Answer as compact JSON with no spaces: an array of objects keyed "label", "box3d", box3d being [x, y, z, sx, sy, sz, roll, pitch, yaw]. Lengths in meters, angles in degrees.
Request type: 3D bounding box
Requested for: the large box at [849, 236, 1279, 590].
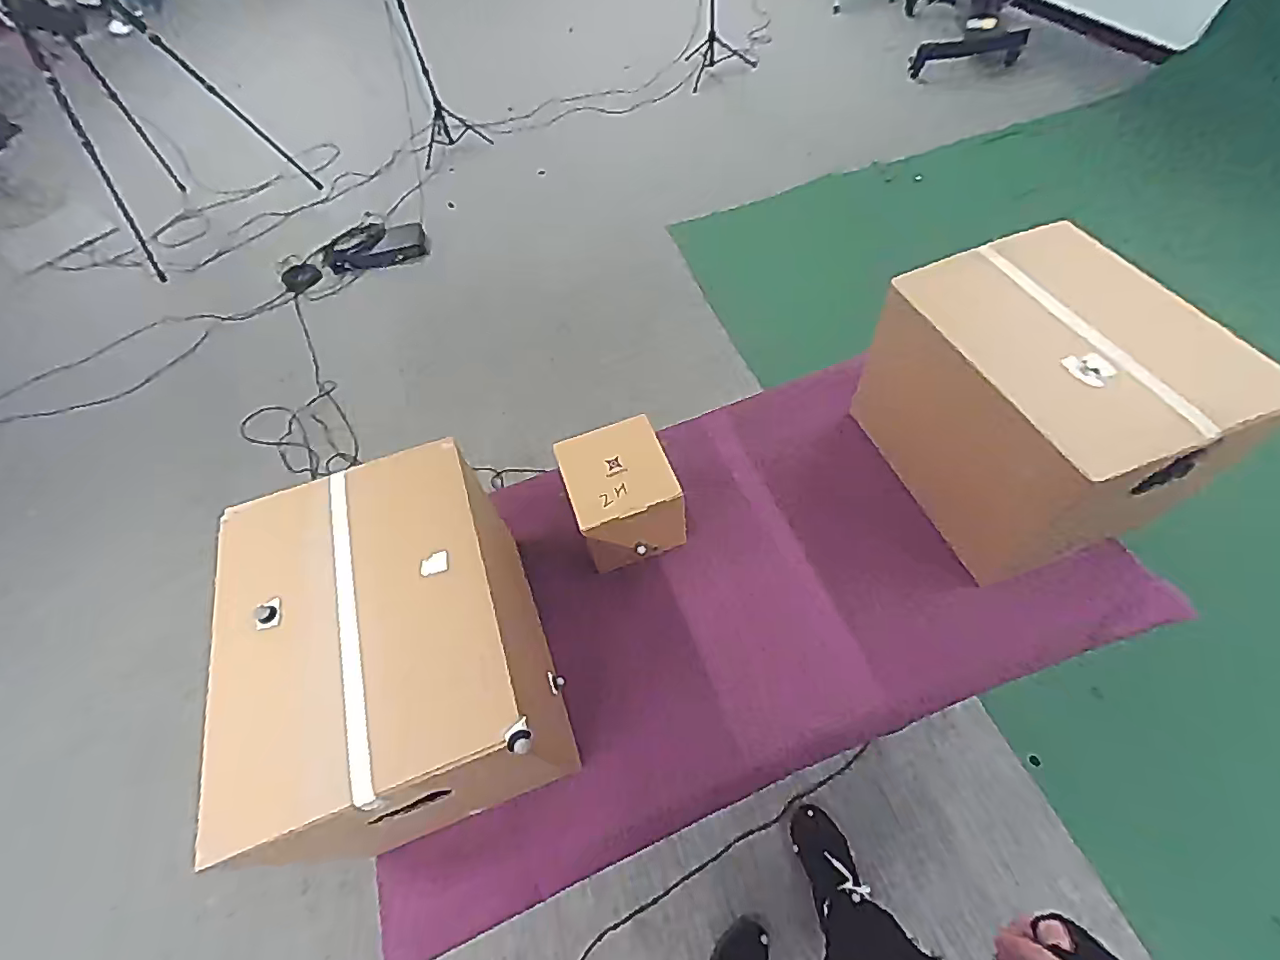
[{"label":"large box","box3d":[0.599,-0.103,0.851,0.320,0.320,0.408,-20,57,-5]}]
